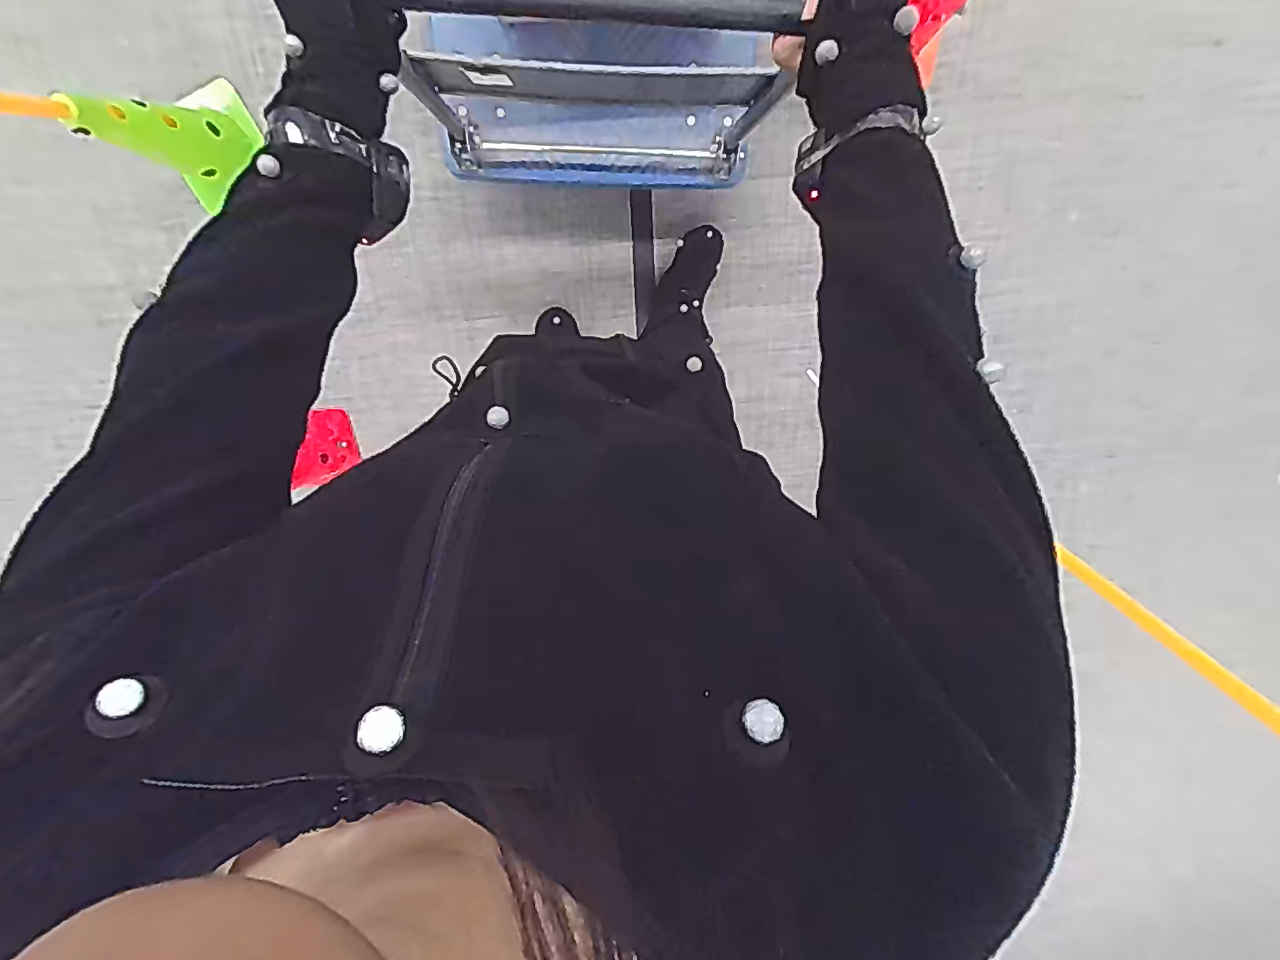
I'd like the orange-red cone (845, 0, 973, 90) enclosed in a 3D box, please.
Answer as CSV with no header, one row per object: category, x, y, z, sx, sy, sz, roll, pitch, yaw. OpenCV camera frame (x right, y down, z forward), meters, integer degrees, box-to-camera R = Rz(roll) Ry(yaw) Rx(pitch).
orange-red cone,0.545,-0.863,0.959,0.199,0.360,0.198,1,113,-5
